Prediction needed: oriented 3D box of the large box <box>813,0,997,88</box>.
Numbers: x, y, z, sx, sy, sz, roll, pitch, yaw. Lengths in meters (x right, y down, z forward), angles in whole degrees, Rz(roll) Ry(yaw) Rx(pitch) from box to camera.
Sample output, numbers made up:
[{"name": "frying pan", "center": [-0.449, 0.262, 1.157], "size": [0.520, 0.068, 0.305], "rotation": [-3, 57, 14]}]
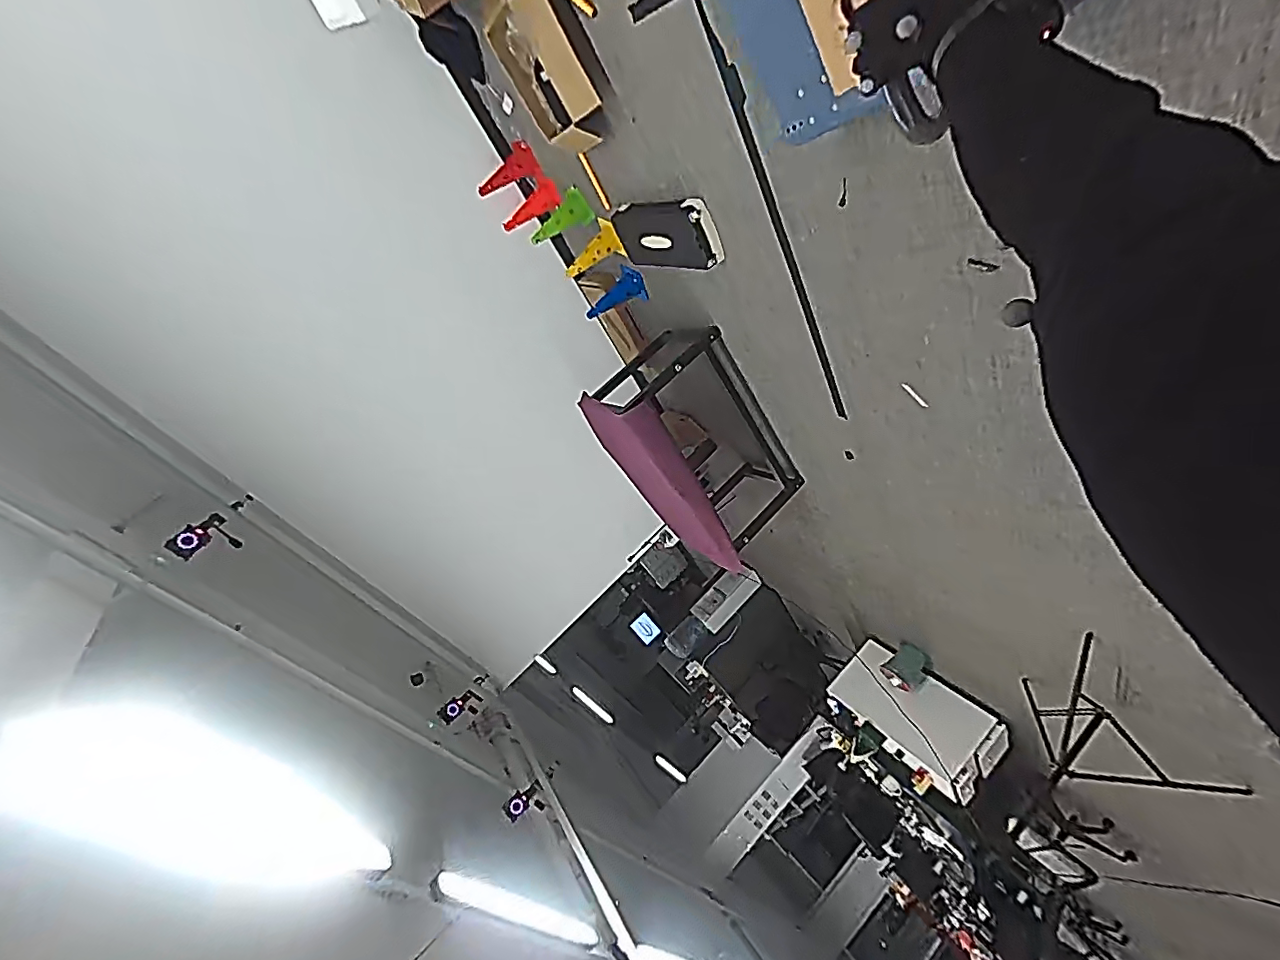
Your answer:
[{"name": "large box", "center": [0.448, -0.932, 0.814], "size": [0.408, 0.320, 0.320], "rotation": [54, 166, -25]}]
